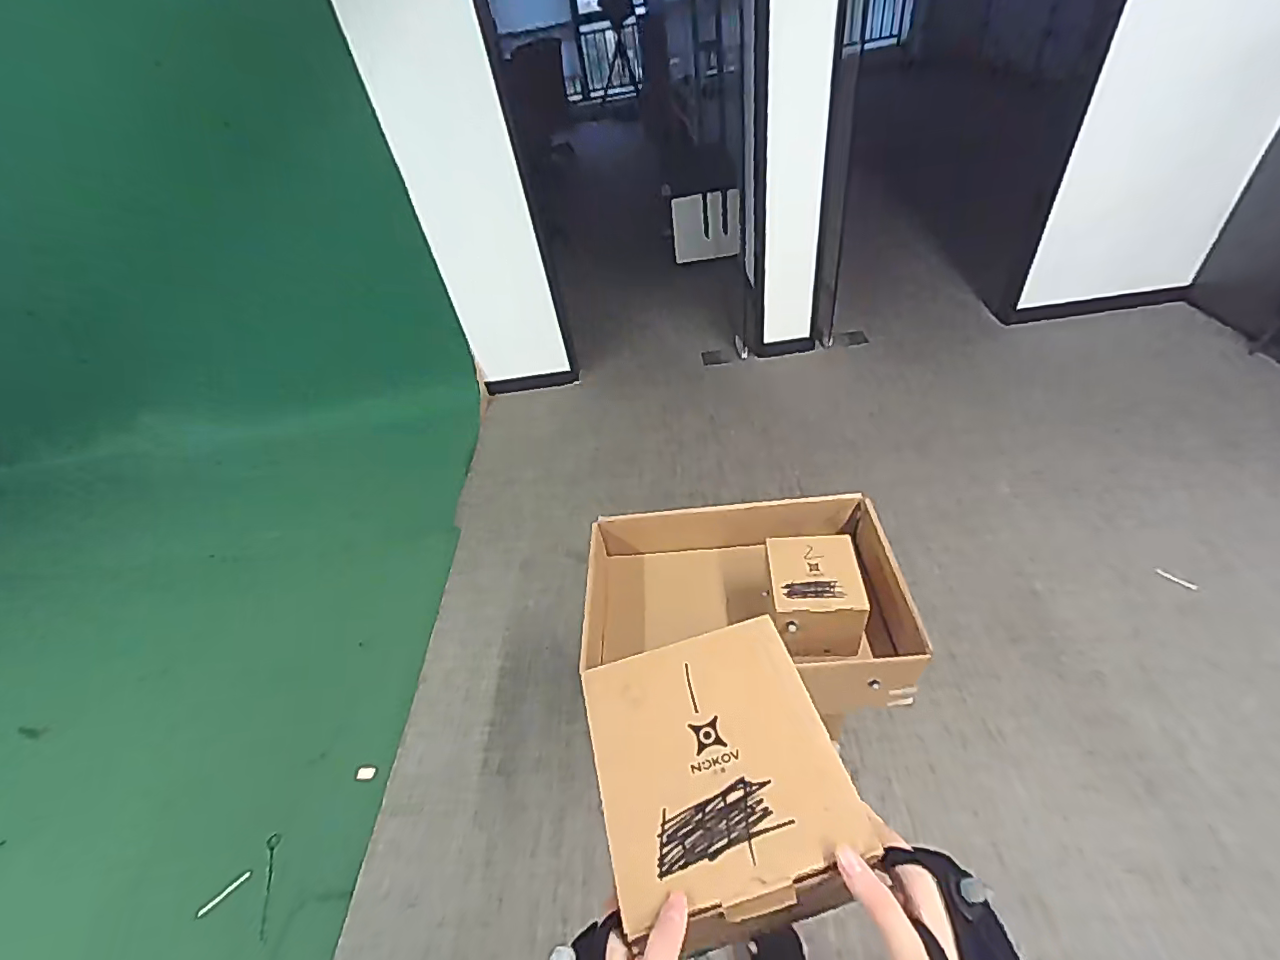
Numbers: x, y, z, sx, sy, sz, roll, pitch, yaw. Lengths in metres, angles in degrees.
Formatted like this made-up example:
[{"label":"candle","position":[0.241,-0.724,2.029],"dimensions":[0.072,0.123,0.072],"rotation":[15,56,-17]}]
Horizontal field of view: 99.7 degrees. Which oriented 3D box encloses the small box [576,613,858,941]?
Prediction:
[{"label":"small box","position":[0.057,0.246,0.445],"dimensions":[0.168,0.176,0.179],"rotation":[-16,42,-3]}]
